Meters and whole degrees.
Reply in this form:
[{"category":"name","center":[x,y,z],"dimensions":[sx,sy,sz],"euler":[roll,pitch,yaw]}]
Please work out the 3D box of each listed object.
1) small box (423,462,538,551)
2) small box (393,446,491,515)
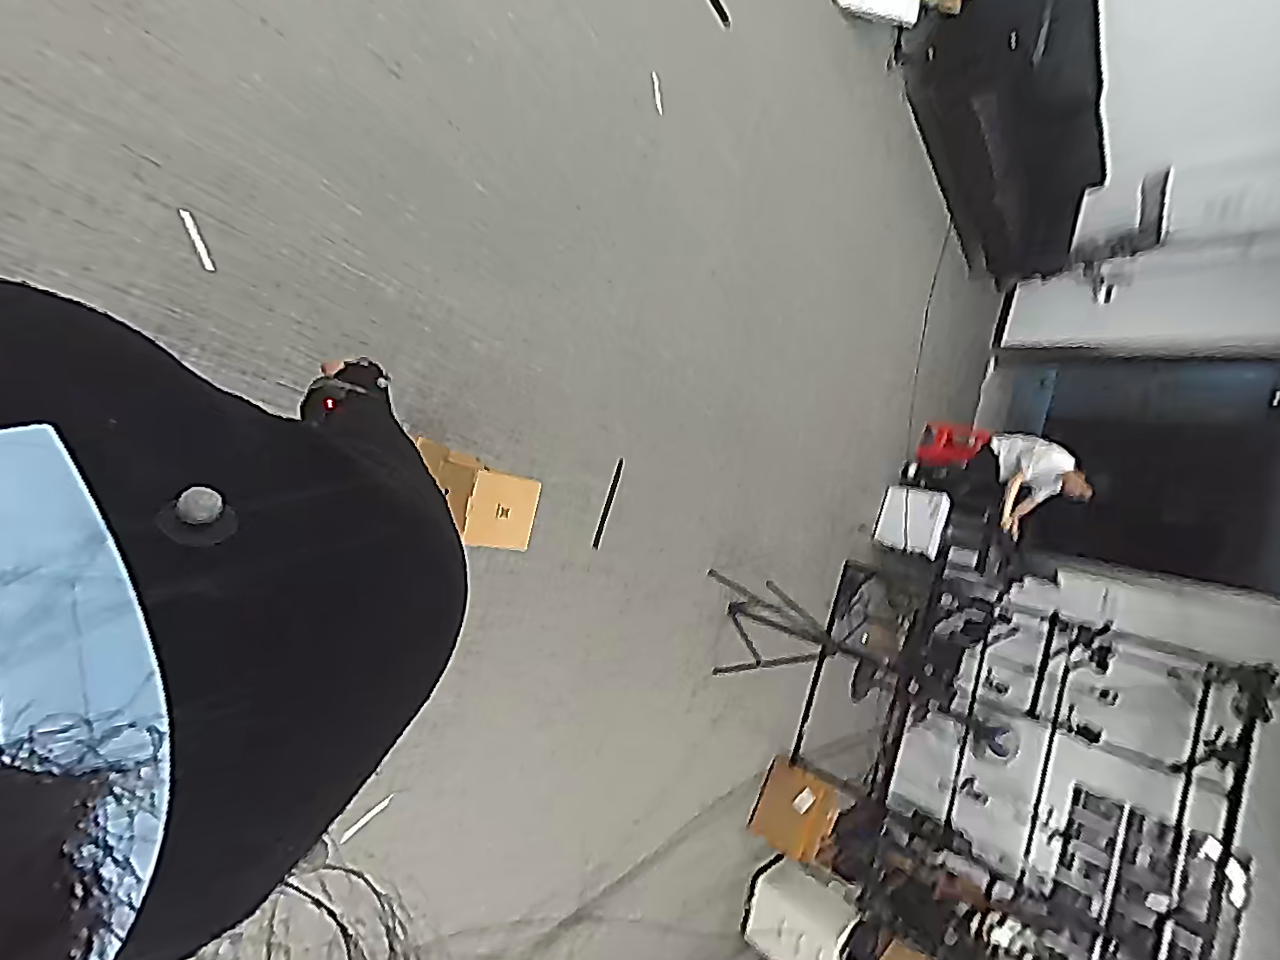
[{"category":"small box","center":[-0.371,0.061,1.258],"dimensions":[0.179,0.176,0.168],"euler":[14,88,-47]},{"category":"small box","center":[-0.484,0.022,1.369],"dimensions":[0.179,0.176,0.168],"euler":[31,76,-45]}]
